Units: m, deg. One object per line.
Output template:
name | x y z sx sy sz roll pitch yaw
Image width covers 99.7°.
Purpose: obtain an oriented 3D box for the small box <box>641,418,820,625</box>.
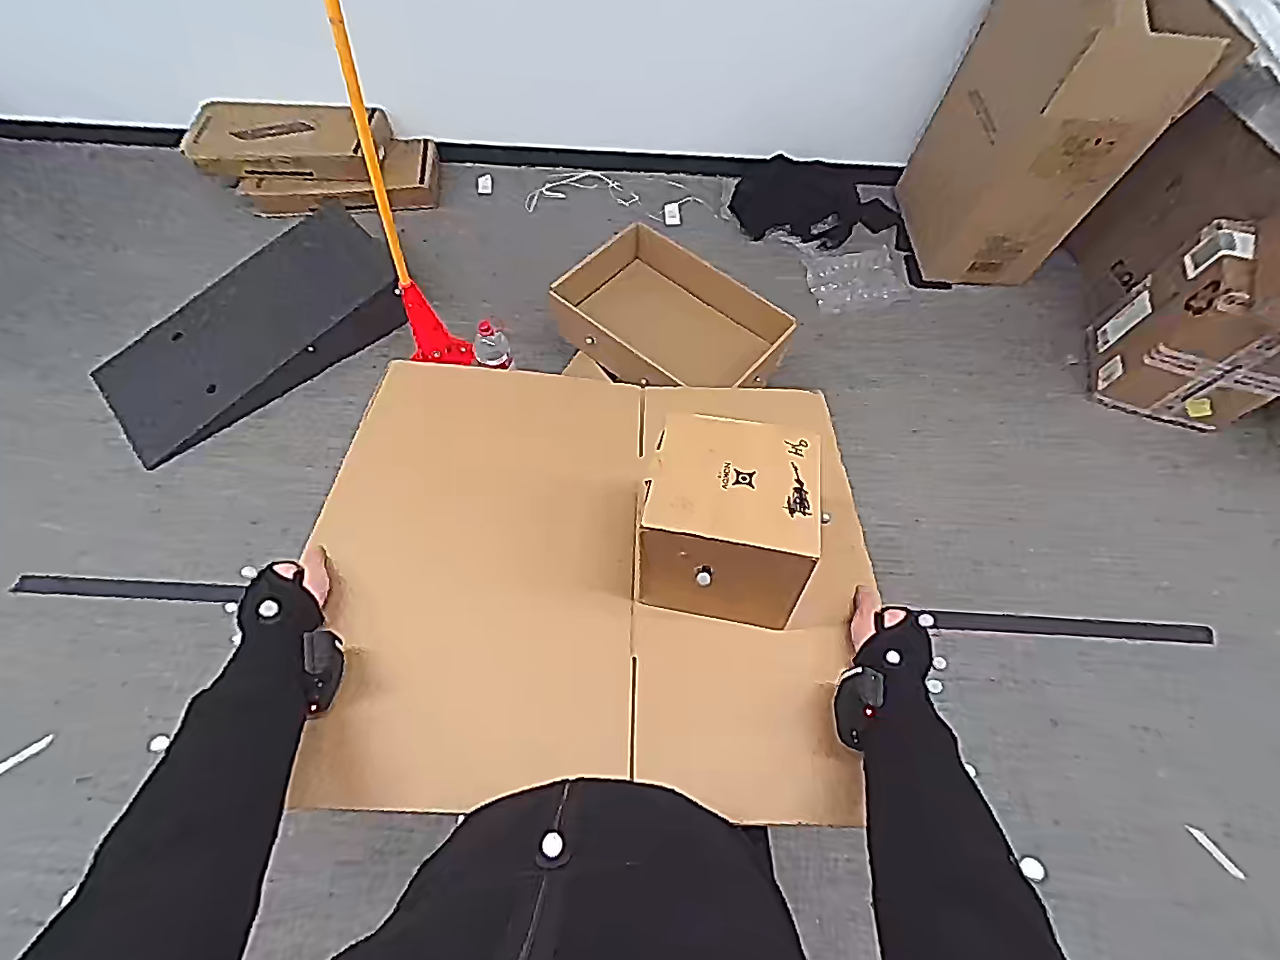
small box | 0.103 0.052 0.636 0.179 0.176 0.168 9 52 8
